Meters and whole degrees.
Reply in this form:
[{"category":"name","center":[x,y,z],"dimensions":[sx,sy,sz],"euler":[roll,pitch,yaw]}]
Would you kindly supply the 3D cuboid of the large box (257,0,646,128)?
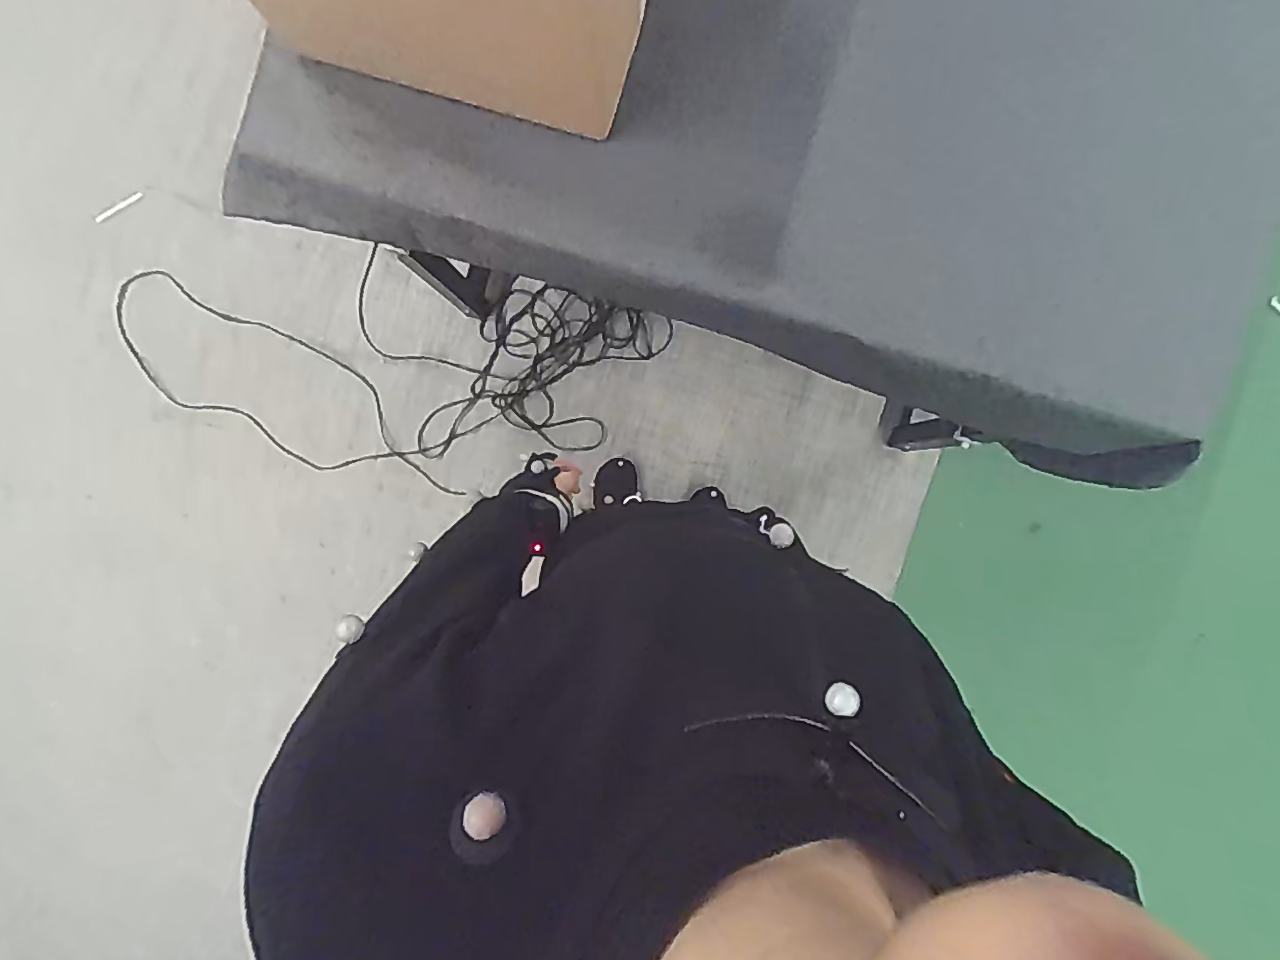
[{"category":"large box","center":[-0.187,-0.610,0.496],"dimensions":[0.408,0.320,0.320],"euler":[16,92,0]}]
